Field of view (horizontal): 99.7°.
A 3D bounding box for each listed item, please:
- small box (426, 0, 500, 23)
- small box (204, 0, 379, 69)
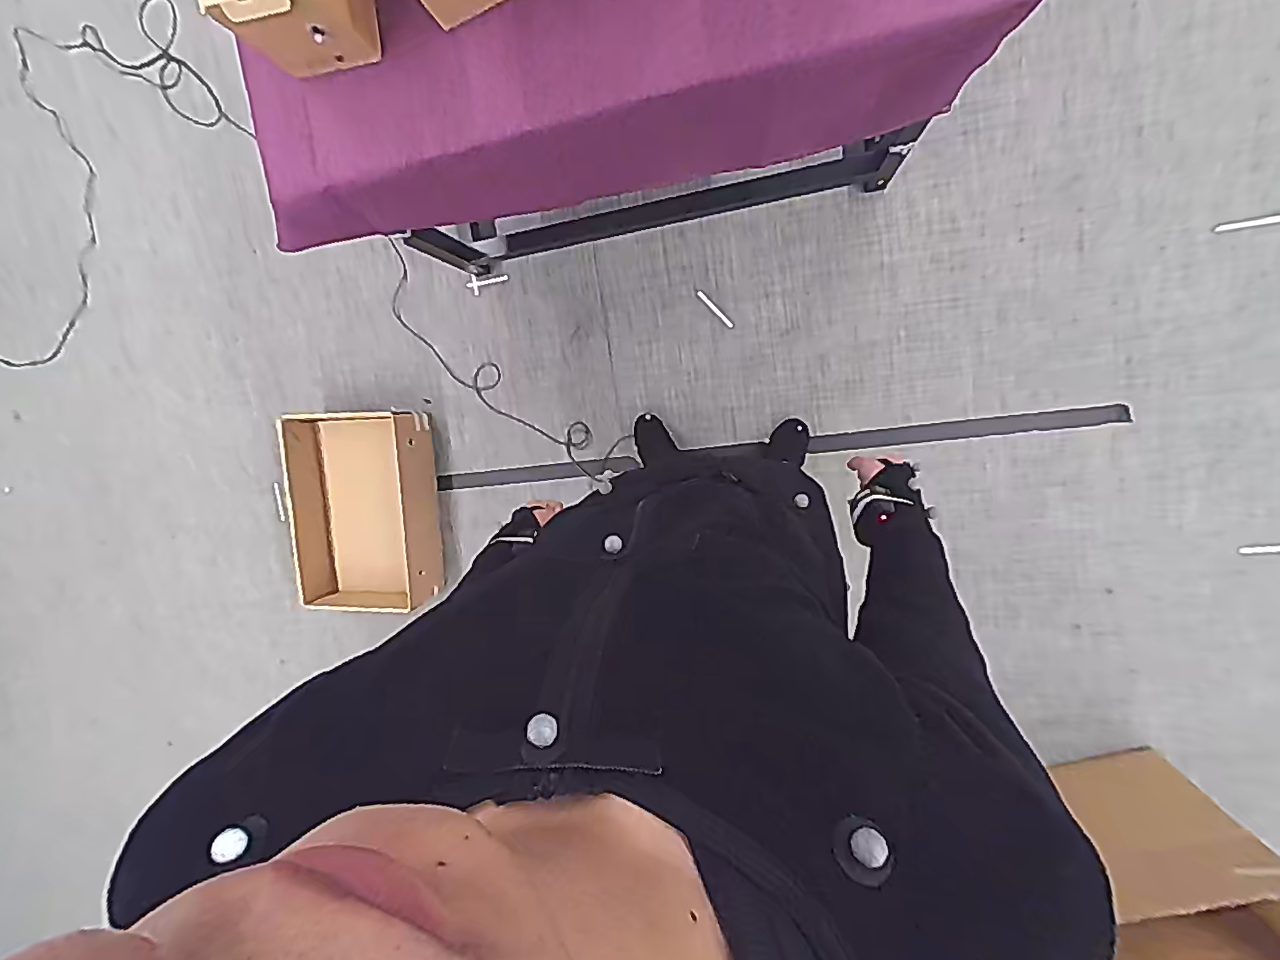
[{"bbox_3d":[-0.262,-0.795,0.745,0.179,0.176,0.168,-16,95,12],"label":"small box"},{"bbox_3d":[-0.514,-0.751,0.801,0.168,0.176,0.179,-2,97,10],"label":"small box"}]
